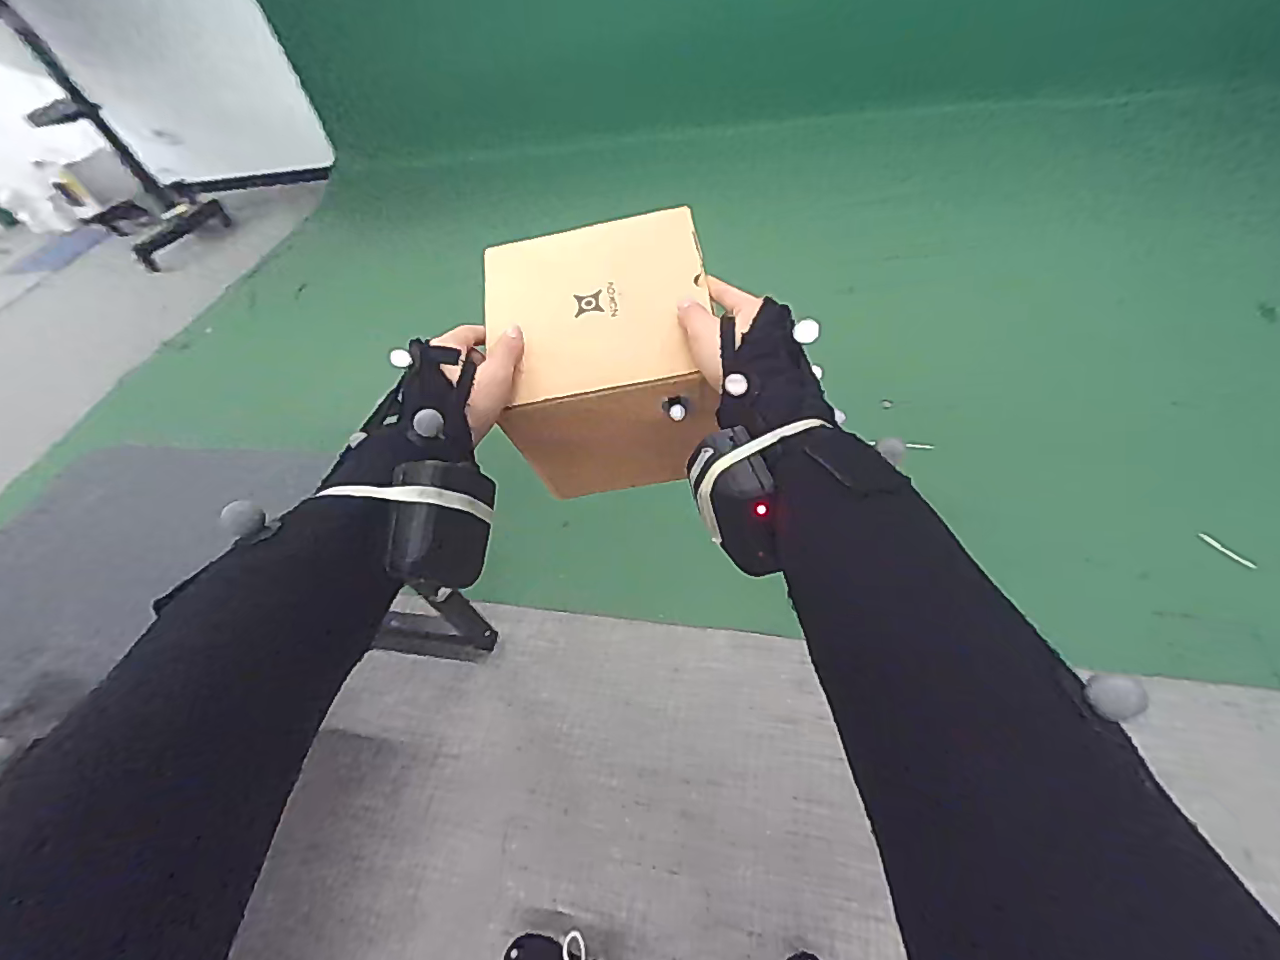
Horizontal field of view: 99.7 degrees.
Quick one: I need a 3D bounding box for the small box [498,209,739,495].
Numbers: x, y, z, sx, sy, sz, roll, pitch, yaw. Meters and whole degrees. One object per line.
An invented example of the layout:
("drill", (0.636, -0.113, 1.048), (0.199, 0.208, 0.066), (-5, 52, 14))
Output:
("small box", (-0.012, -0.099, 0.482), (0.179, 0.176, 0.168), (-10, 64, 4))
